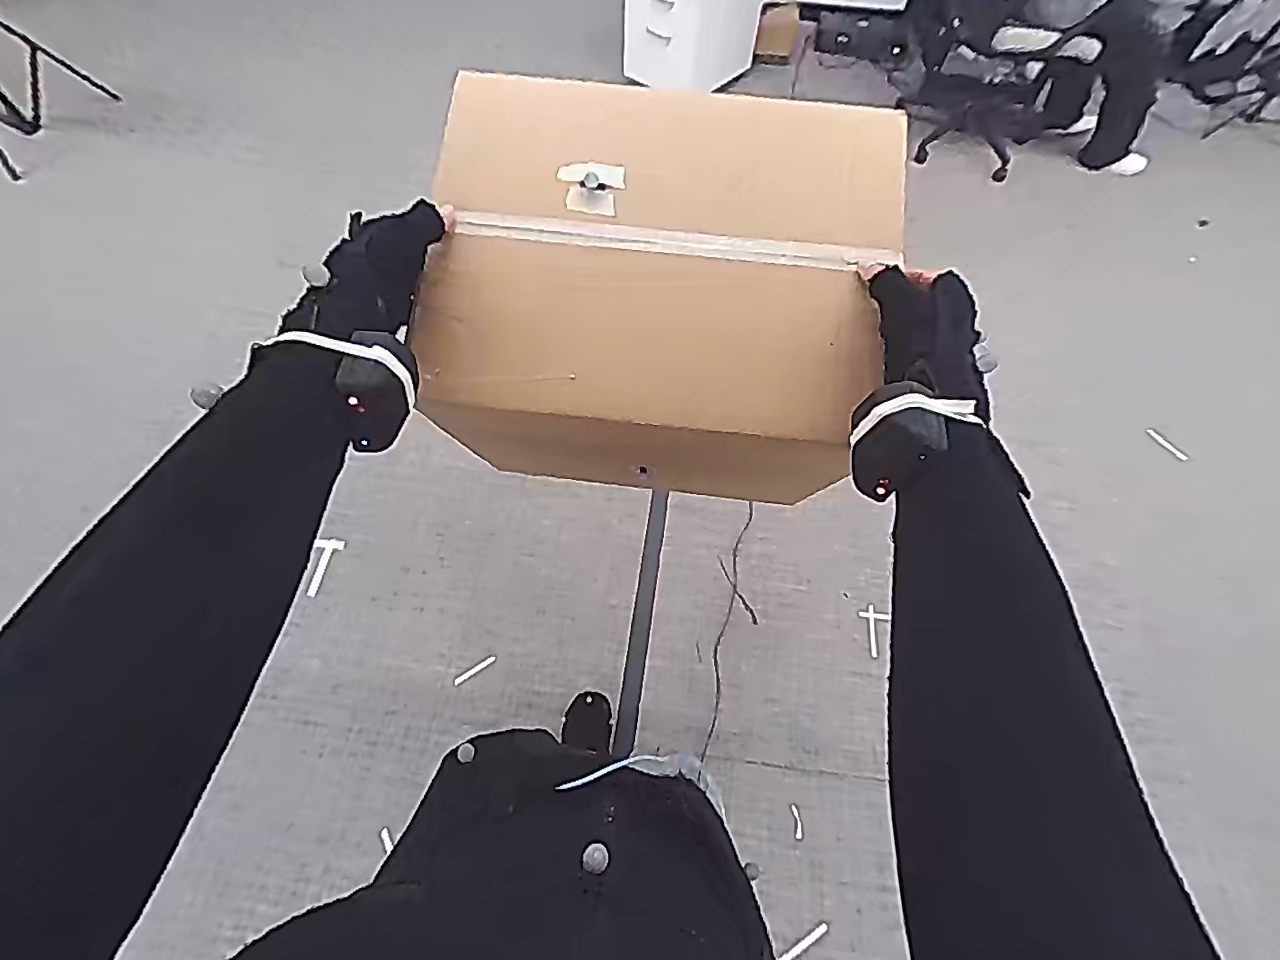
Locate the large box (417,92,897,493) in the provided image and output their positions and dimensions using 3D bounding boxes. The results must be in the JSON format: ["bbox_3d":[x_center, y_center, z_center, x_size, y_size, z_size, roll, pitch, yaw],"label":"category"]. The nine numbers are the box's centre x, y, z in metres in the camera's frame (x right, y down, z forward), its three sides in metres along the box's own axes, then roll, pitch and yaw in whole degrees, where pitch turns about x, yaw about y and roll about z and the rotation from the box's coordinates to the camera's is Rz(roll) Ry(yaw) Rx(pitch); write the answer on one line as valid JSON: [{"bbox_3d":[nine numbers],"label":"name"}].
[{"bbox_3d":[0.027,-0.171,0.623,0.408,0.320,0.320,7,79,2],"label":"large box"}]
